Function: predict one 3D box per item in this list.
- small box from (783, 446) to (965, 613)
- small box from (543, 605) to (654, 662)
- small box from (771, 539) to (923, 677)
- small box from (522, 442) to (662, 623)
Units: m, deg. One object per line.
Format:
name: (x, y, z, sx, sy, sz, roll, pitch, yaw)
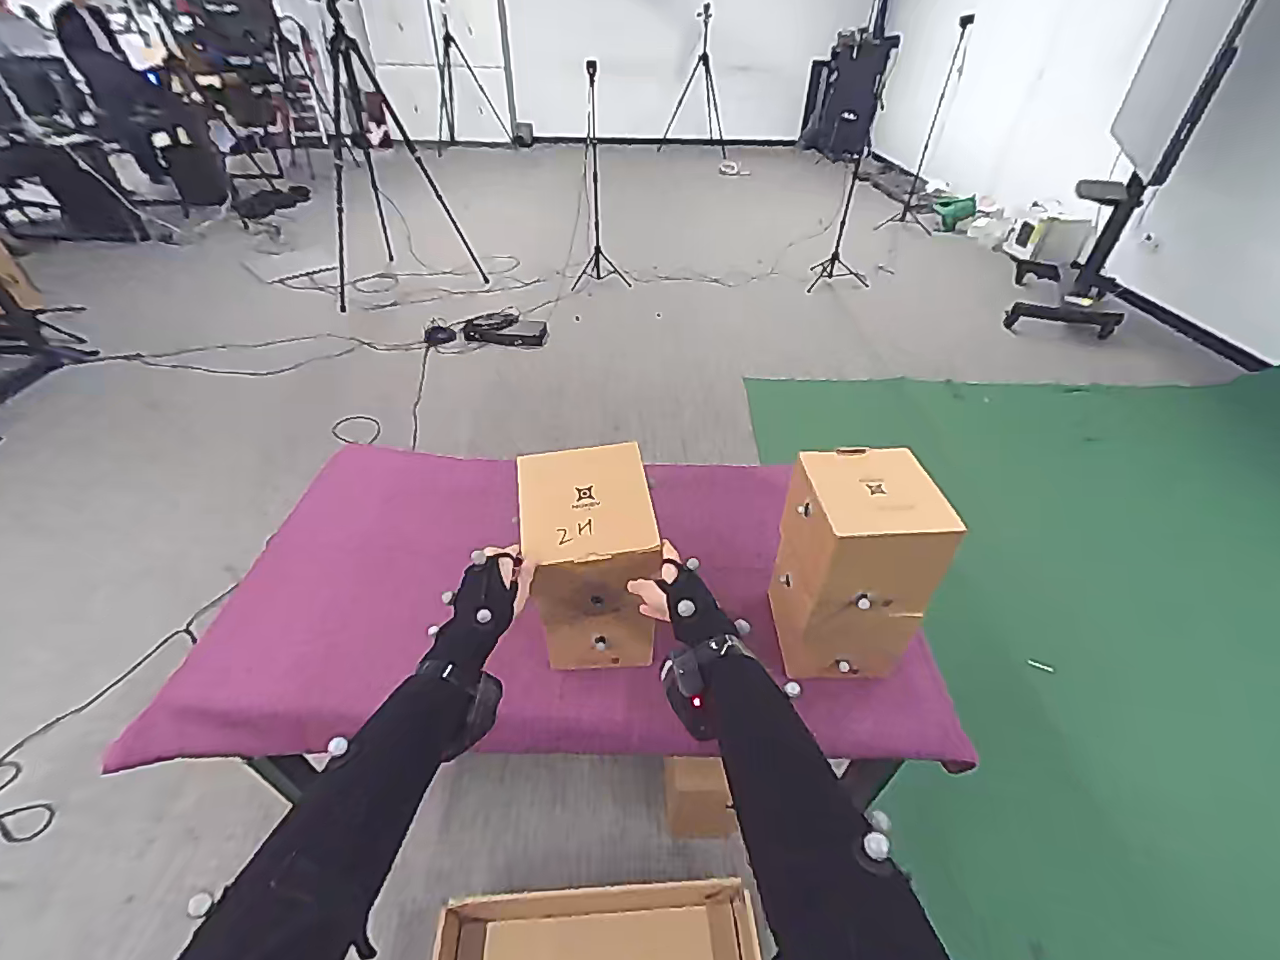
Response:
small box: (0.314, 0.069, 0.773, 0.168, 0.176, 0.179, -2, 39, -2)
small box: (-0.063, 0.183, 0.885, 0.168, 0.176, 0.179, -2, 40, -4)
small box: (0.318, 0.195, 0.876, 0.168, 0.176, 0.179, 0, 40, 0)
small box: (-0.068, 0.072, 0.746, 0.168, 0.176, 0.179, -8, 50, -6)
